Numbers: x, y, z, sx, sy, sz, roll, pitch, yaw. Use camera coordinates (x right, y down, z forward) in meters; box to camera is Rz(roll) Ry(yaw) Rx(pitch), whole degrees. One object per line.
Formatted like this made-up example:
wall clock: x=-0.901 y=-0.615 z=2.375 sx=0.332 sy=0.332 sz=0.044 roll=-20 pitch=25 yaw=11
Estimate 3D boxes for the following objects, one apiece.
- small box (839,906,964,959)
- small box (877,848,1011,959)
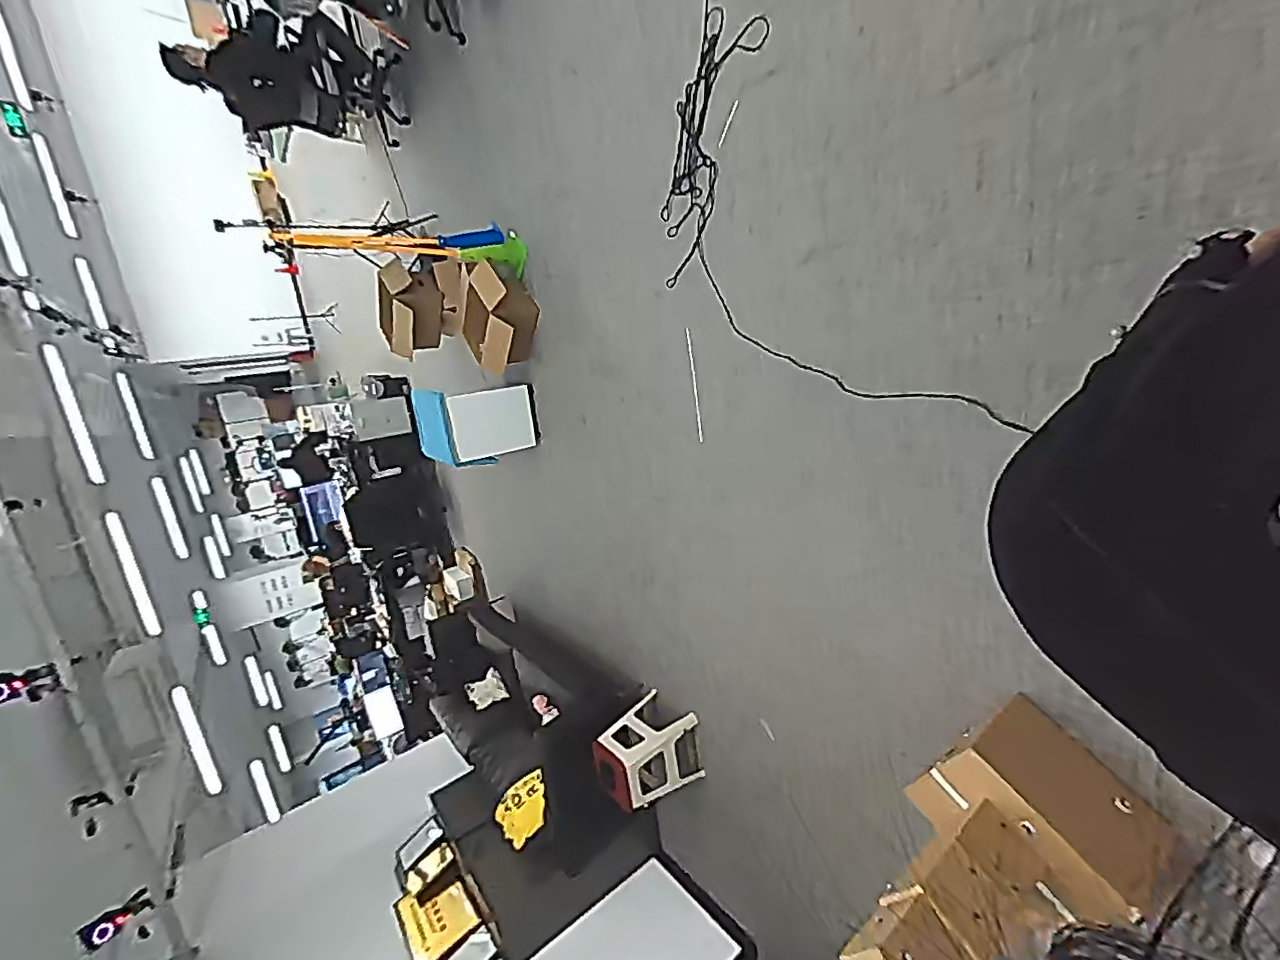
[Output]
small box: x=0.545 y=1.007 z=1.094 sx=0.179 sy=0.176 sz=0.168 roll=49 pitch=141 yaw=31
small box: x=0.671 y=0.956 z=1.188 sx=0.168 sy=0.176 sz=0.179 roll=48 pitch=140 yaw=32
